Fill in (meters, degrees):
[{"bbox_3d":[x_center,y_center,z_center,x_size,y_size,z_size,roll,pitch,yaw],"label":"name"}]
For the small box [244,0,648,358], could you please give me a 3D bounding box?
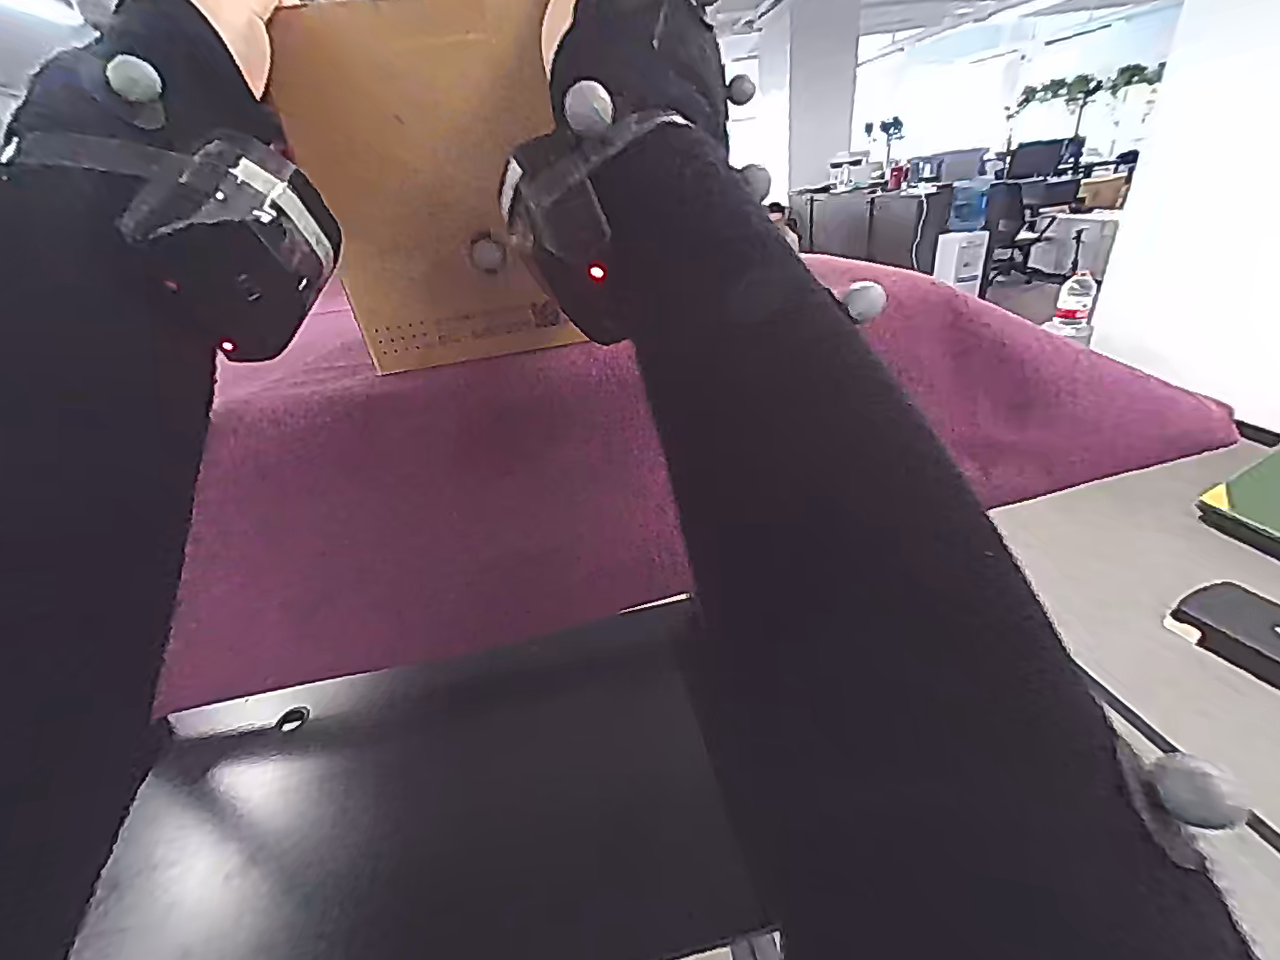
[{"bbox_3d":[-0.092,-0.187,0.347,0.168,0.176,0.179,-10,29,-2],"label":"small box"}]
